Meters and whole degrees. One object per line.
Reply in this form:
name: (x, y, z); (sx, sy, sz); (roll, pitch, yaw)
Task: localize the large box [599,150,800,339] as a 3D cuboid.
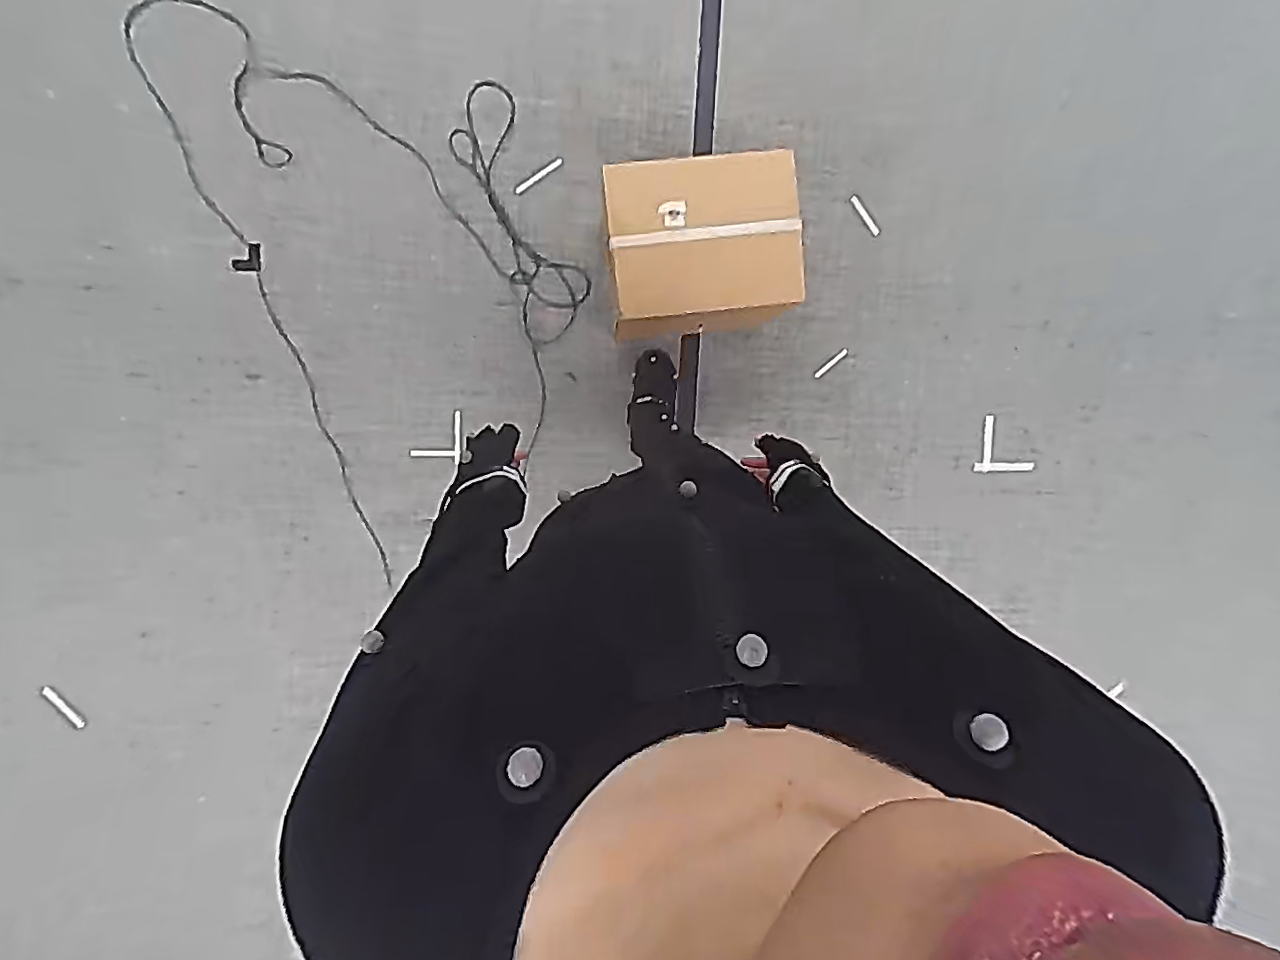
large box: (0.124, -0.531, 1.286); (0.408, 0.320, 0.320); (-7, 96, -3)
